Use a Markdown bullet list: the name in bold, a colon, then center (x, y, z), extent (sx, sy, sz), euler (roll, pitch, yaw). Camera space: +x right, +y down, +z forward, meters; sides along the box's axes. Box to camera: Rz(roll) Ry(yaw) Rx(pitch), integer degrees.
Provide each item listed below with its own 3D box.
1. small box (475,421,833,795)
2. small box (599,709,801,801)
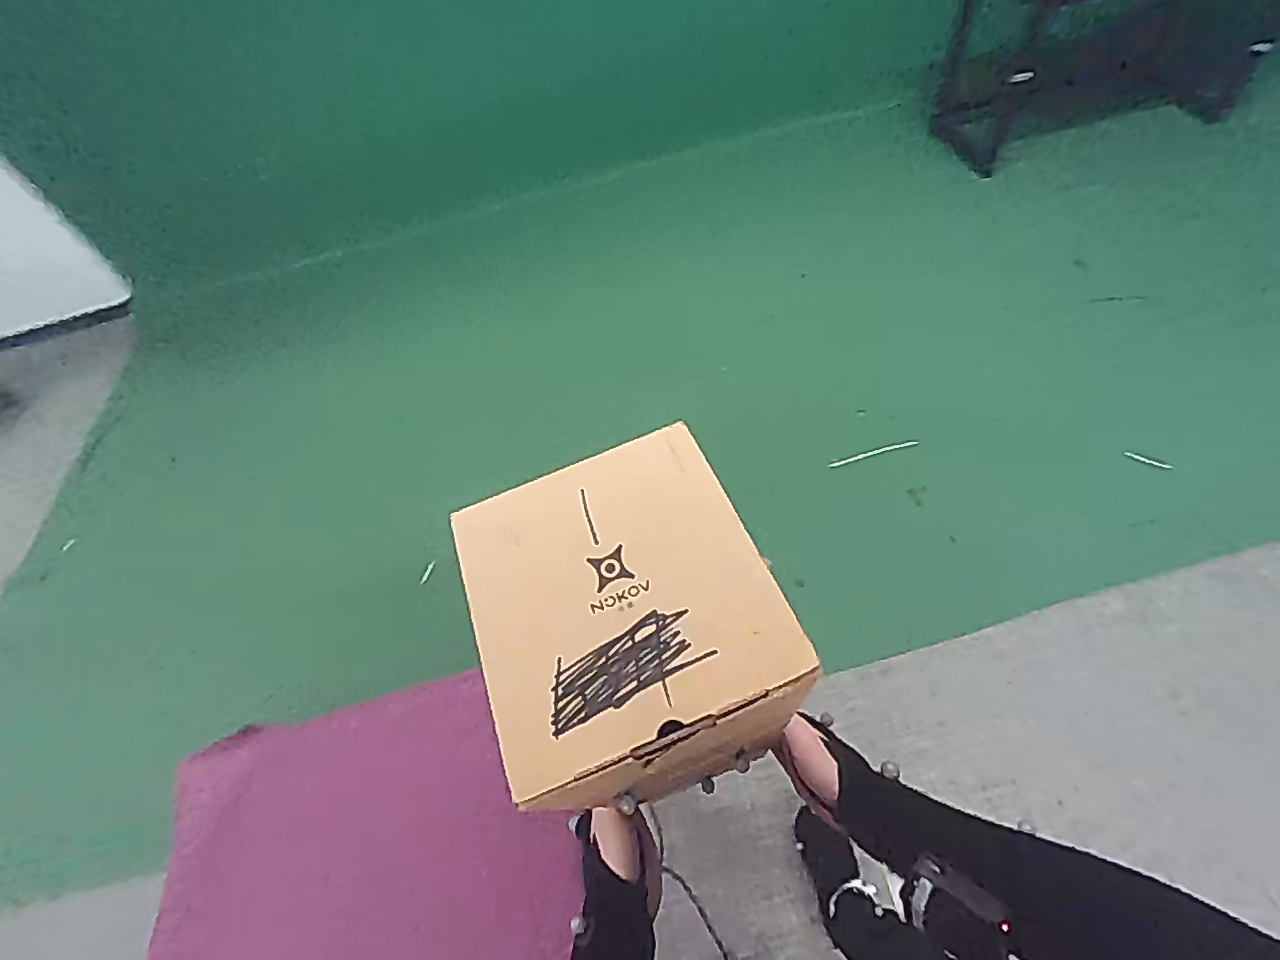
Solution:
- **small box**: center (0.008, 0.096, 0.377), extent (0.168, 0.176, 0.179), euler (-21, 57, -4)
- **small box**: center (0.034, 0.181, 0.514), extent (0.168, 0.176, 0.179), euler (-20, 58, -3)
